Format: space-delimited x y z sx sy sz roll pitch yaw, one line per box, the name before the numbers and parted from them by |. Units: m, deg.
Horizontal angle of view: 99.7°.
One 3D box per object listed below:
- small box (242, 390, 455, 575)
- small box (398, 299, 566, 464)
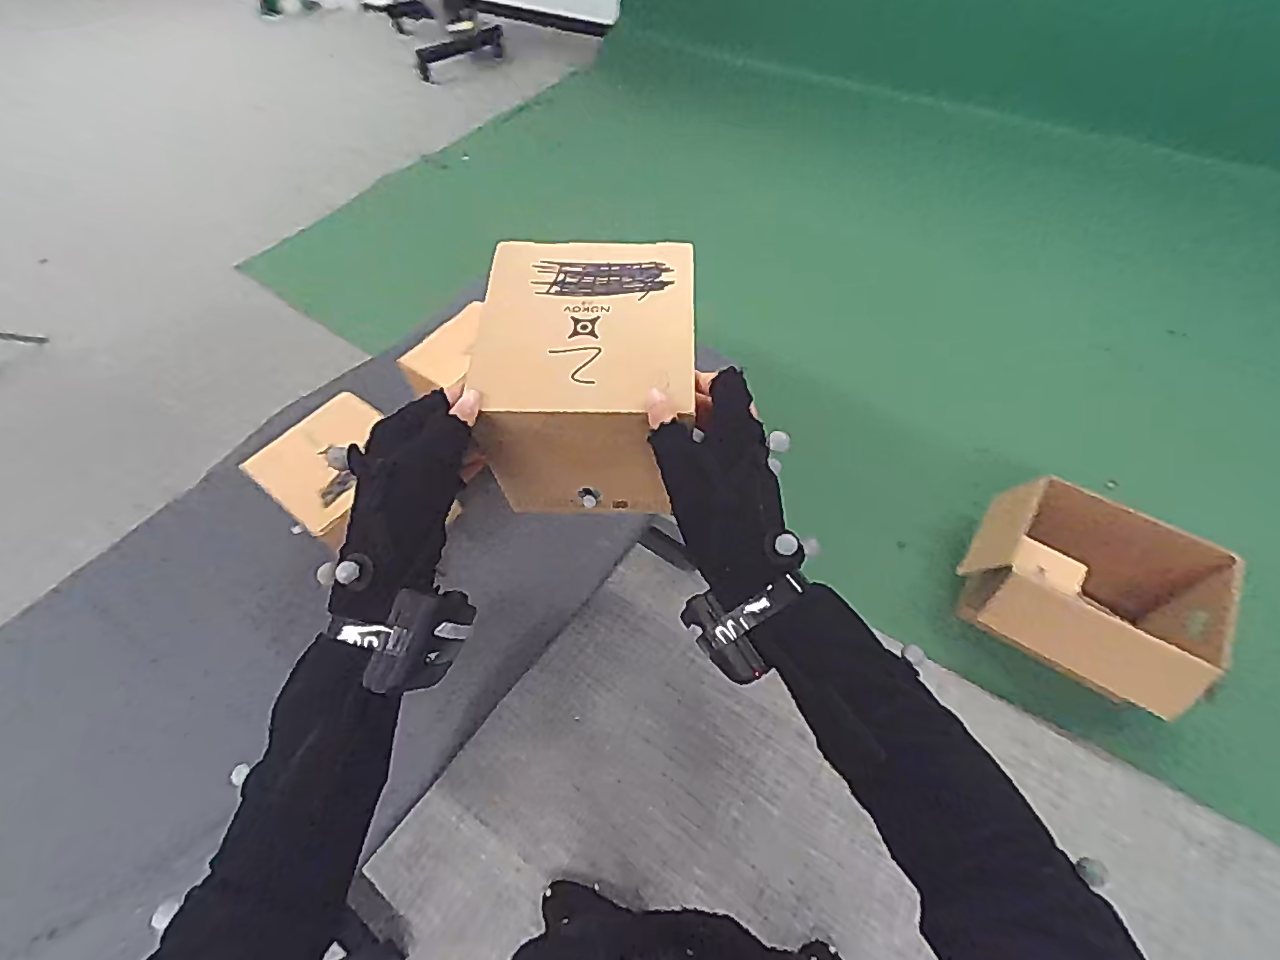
small box | -0.396 0.012 0.768 0.179 0.176 0.168 31 63 21
small box | -0.240 -0.151 0.870 0.179 0.176 0.168 29 63 20
